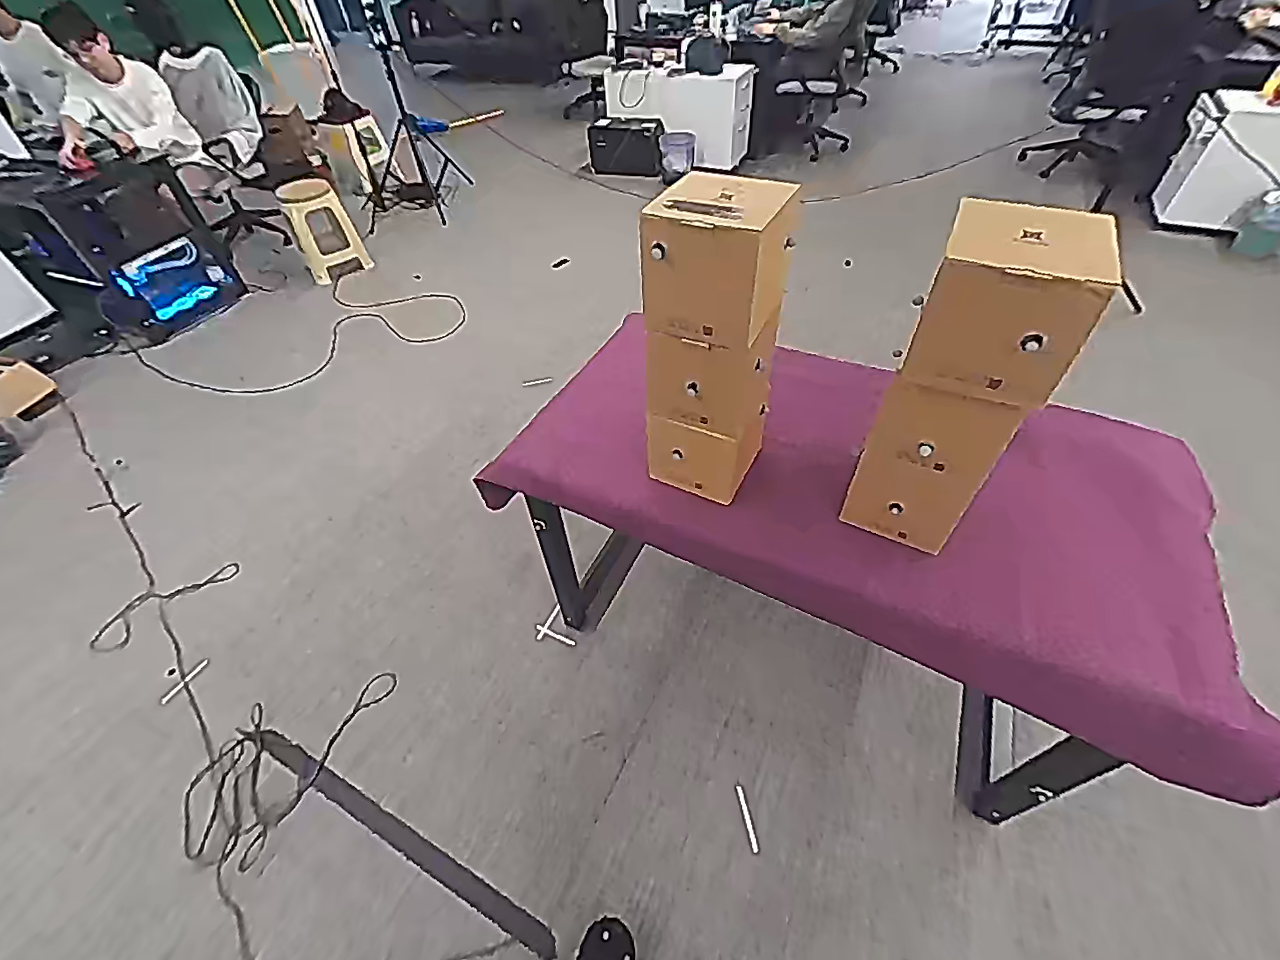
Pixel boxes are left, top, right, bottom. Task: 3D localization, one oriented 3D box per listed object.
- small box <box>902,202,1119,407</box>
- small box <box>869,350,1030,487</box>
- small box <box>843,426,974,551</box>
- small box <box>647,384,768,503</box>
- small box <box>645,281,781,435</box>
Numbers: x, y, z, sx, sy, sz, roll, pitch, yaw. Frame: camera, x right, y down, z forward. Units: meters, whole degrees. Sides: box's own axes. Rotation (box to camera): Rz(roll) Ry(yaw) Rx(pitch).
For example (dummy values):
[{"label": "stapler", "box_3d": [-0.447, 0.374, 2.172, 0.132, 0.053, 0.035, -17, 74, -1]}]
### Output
[{"label": "small box", "box_3d": [0.443, -0.216, 0.669, 0.168, 0.176, 0.179, 19, 51, 19]}, {"label": "small box", "box_3d": [0.459, -0.122, 0.802, 0.168, 0.176, 0.179, 21, 53, 21]}, {"label": "small box", "box_3d": [0.462, -0.010, 0.922, 0.168, 0.176, 0.179, 22, 52, 21]}, {"label": "small box", "box_3d": [0.126, -0.085, 1.013, 0.168, 0.176, 0.179, 20, 51, 20]}, {"label": "small box", "box_3d": [0.121, -0.201, 0.897, 0.168, 0.176, 0.179, 18, 51, 18]}]
